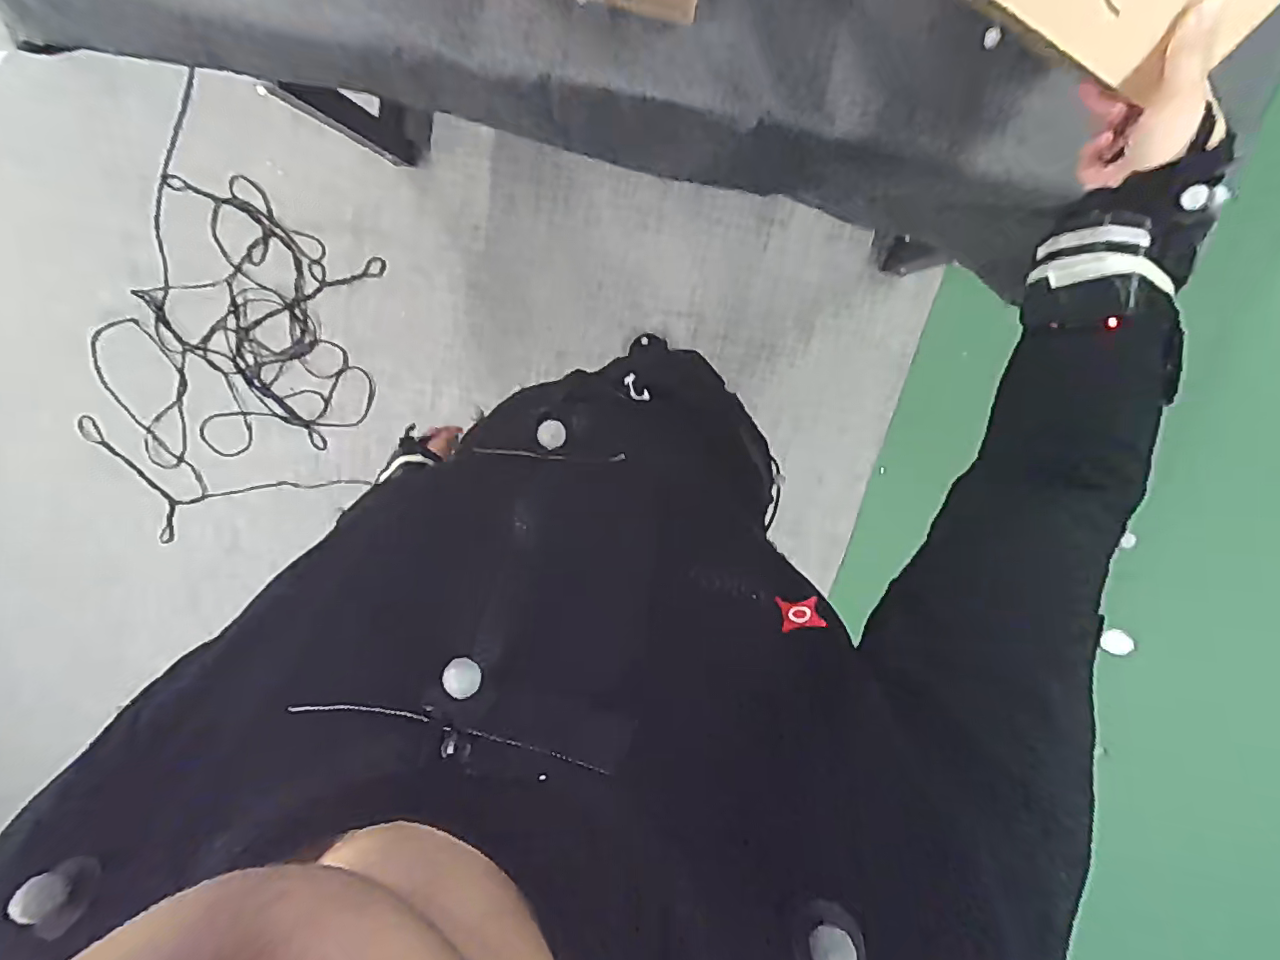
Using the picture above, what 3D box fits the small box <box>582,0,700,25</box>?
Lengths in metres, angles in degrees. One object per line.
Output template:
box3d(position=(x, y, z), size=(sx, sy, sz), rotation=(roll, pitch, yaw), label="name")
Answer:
box3d(position=(-0.015, -0.490, 0.391), size=(0.168, 0.176, 0.179), rotation=(15, 106, 2), label="small box")
